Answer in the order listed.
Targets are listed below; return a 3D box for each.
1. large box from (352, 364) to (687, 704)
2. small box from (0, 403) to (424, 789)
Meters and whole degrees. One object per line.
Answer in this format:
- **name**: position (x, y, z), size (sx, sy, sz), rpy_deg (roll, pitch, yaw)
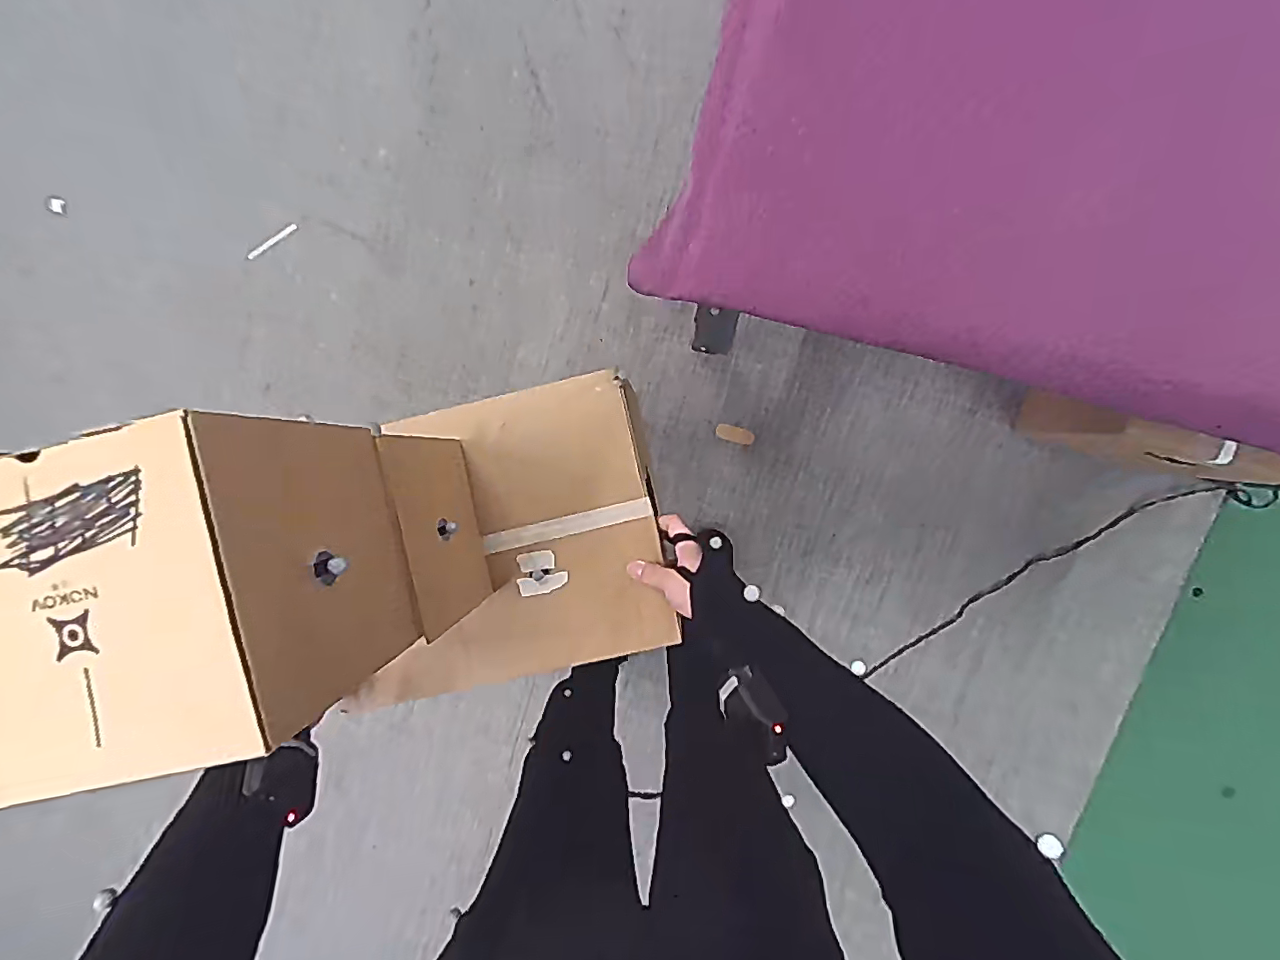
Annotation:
- **large box**: position (-0.170, 0.061, 0.761), size (0.408, 0.320, 0.320), rpy_deg (-14, 92, 2)
- **small box**: position (-0.269, 0.058, 0.356), size (0.168, 0.176, 0.179), rpy_deg (-12, 92, 3)
